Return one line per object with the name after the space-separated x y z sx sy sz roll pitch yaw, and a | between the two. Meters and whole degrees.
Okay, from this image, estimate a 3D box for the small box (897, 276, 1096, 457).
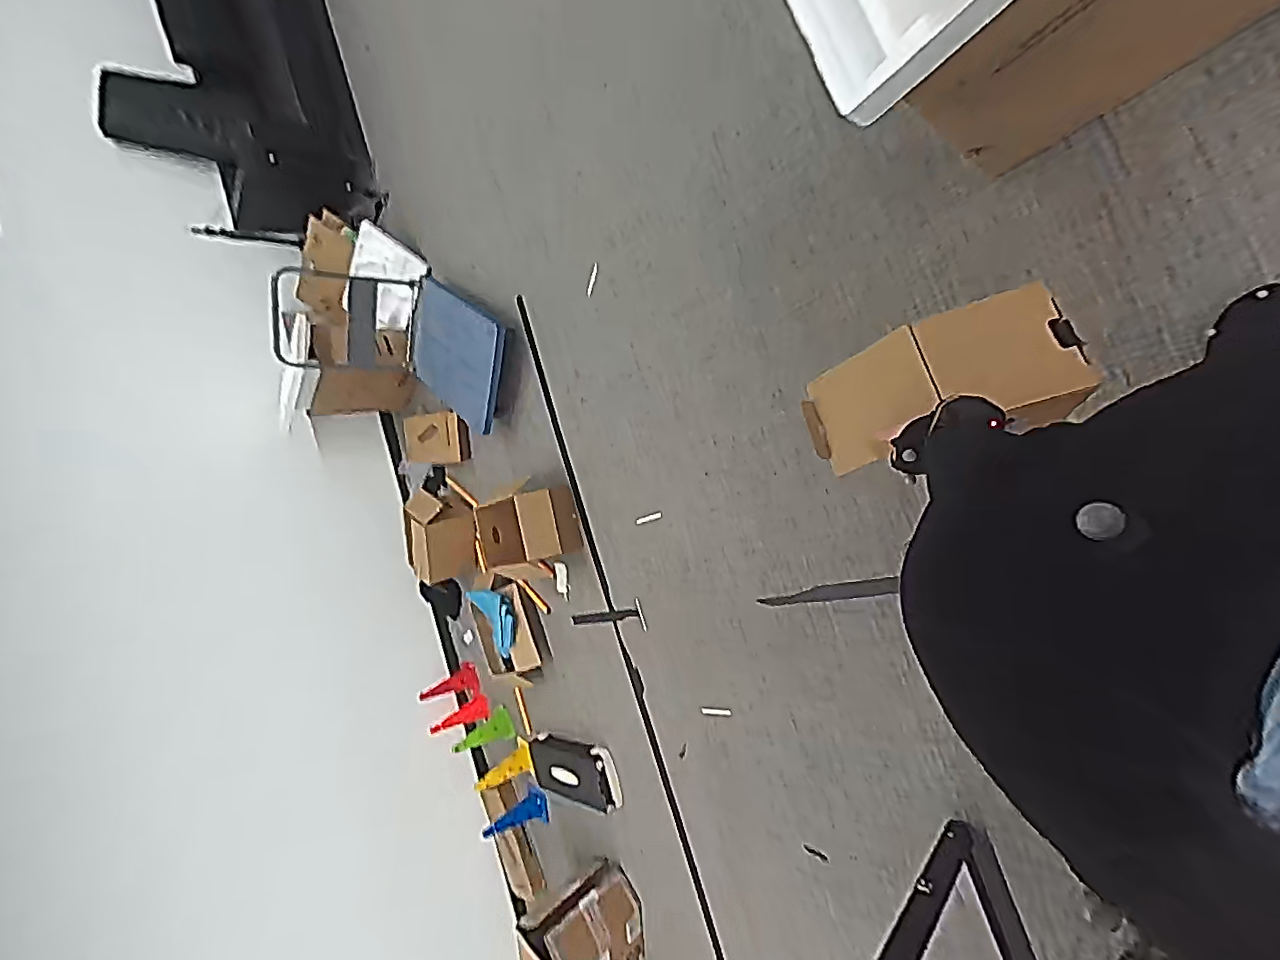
0.483 -0.147 0.772 0.179 0.176 0.168 -17 71 13 | small box
